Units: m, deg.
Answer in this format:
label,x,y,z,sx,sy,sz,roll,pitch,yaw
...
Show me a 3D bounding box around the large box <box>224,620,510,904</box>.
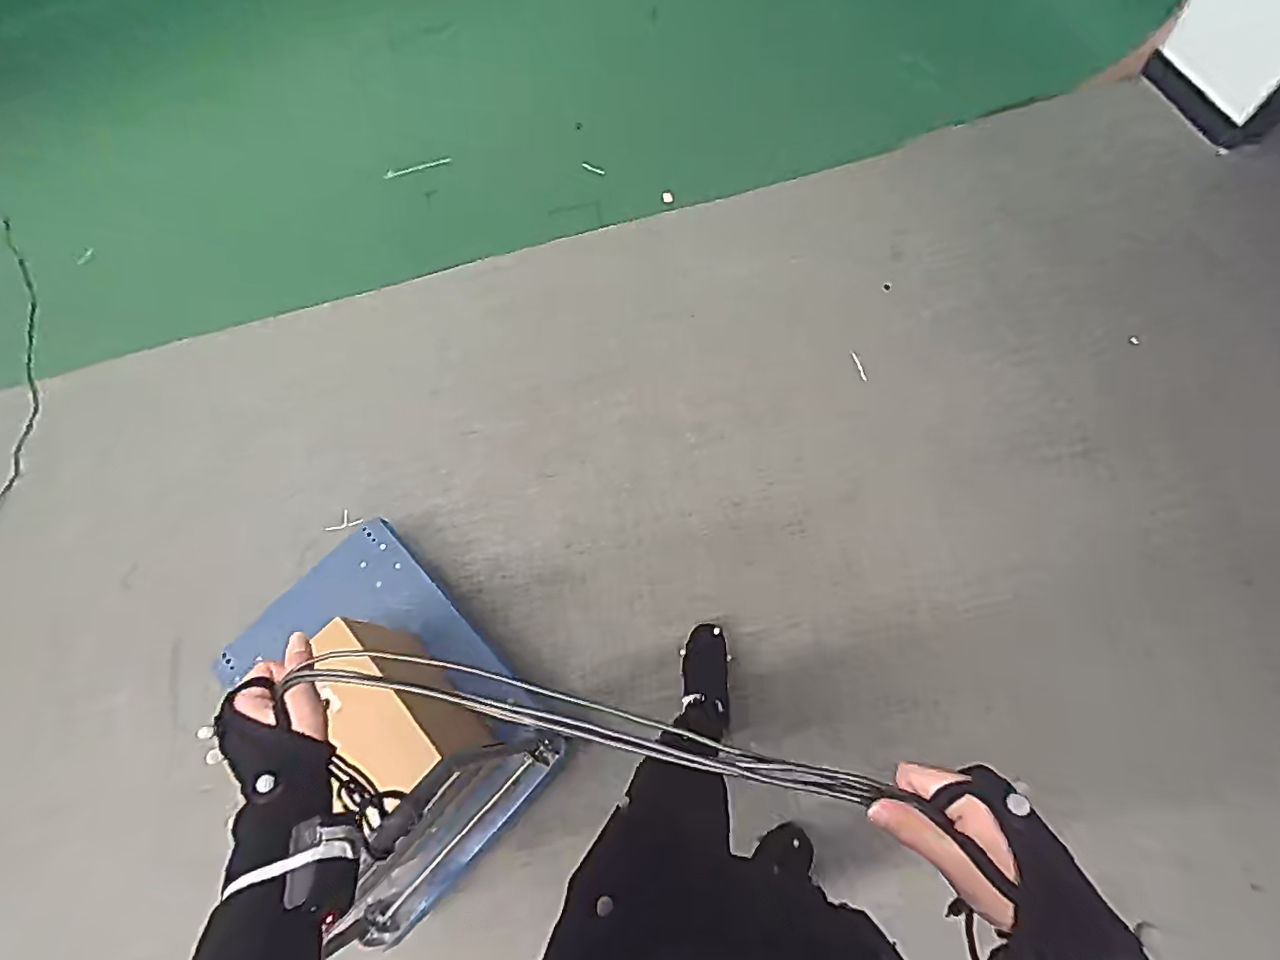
label,x,y,z,sx,sy,sz,roll,pitch,yaw
large box,-0.561,0.570,1.163,0.408,0.320,0.320,40,78,22
